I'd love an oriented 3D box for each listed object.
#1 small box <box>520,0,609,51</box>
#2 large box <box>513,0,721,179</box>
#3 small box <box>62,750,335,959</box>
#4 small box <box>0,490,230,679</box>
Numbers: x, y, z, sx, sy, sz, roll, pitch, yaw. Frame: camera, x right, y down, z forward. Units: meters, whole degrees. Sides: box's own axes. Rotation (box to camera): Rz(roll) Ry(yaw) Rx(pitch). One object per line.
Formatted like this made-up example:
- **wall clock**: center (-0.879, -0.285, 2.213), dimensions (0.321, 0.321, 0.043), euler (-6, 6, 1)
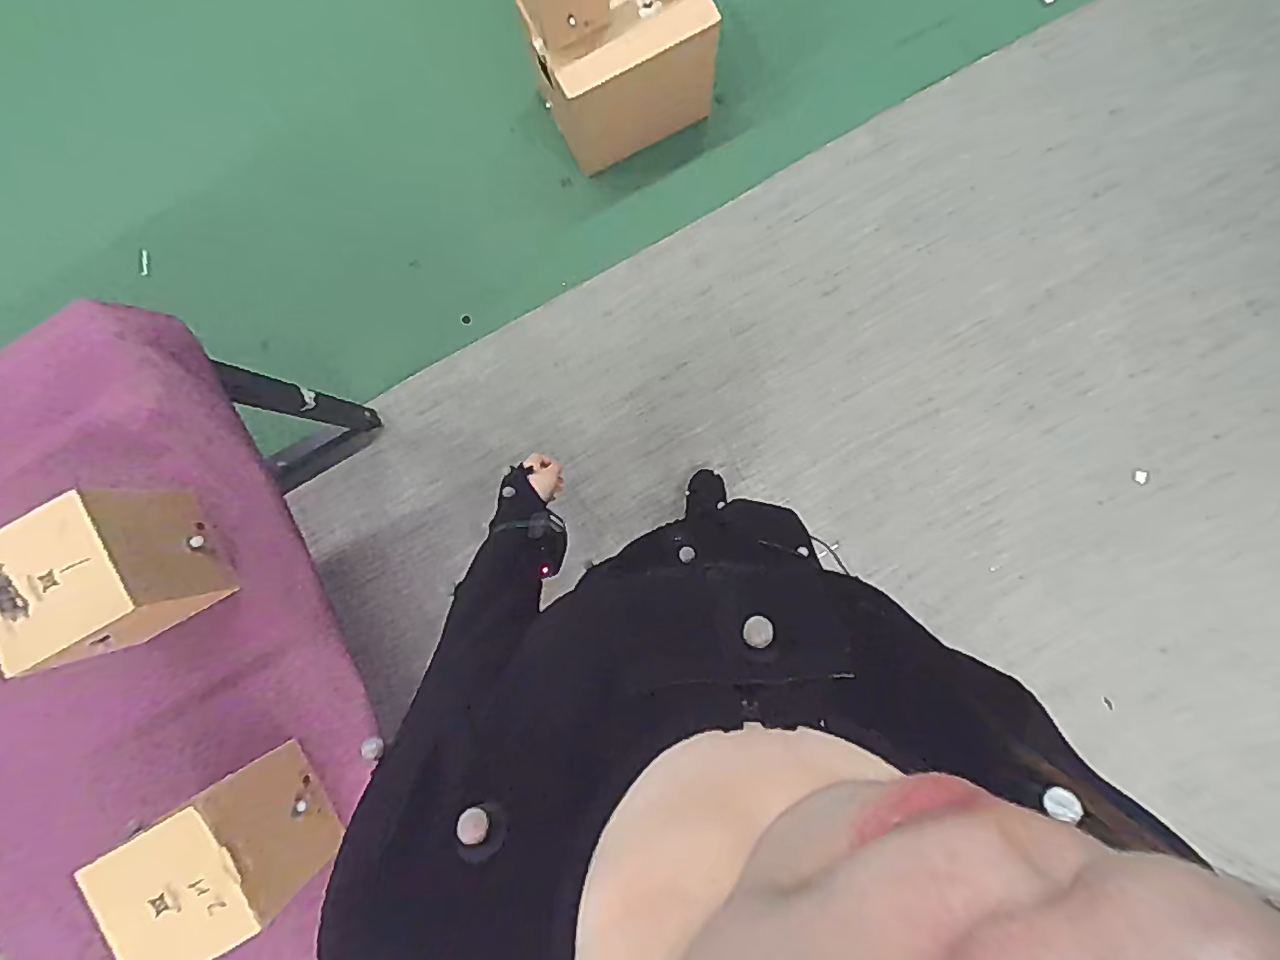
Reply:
- **small box**: center (-0.178, -1.090, 1.162), dimensions (0.168, 0.176, 0.179), euler (-27, 87, 0)
- **large box**: center (-0.052, -1.083, 1.401), dimensions (0.408, 0.320, 0.320), euler (-27, 87, 0)
- **small box**: center (-0.538, 0.485, 0.684), dimensions (0.179, 0.176, 0.168), euler (-30, 87, 2)
- **small box**: center (-0.702, 0.127, 0.707), dimensions (0.179, 0.176, 0.168), euler (-29, 87, 0)
